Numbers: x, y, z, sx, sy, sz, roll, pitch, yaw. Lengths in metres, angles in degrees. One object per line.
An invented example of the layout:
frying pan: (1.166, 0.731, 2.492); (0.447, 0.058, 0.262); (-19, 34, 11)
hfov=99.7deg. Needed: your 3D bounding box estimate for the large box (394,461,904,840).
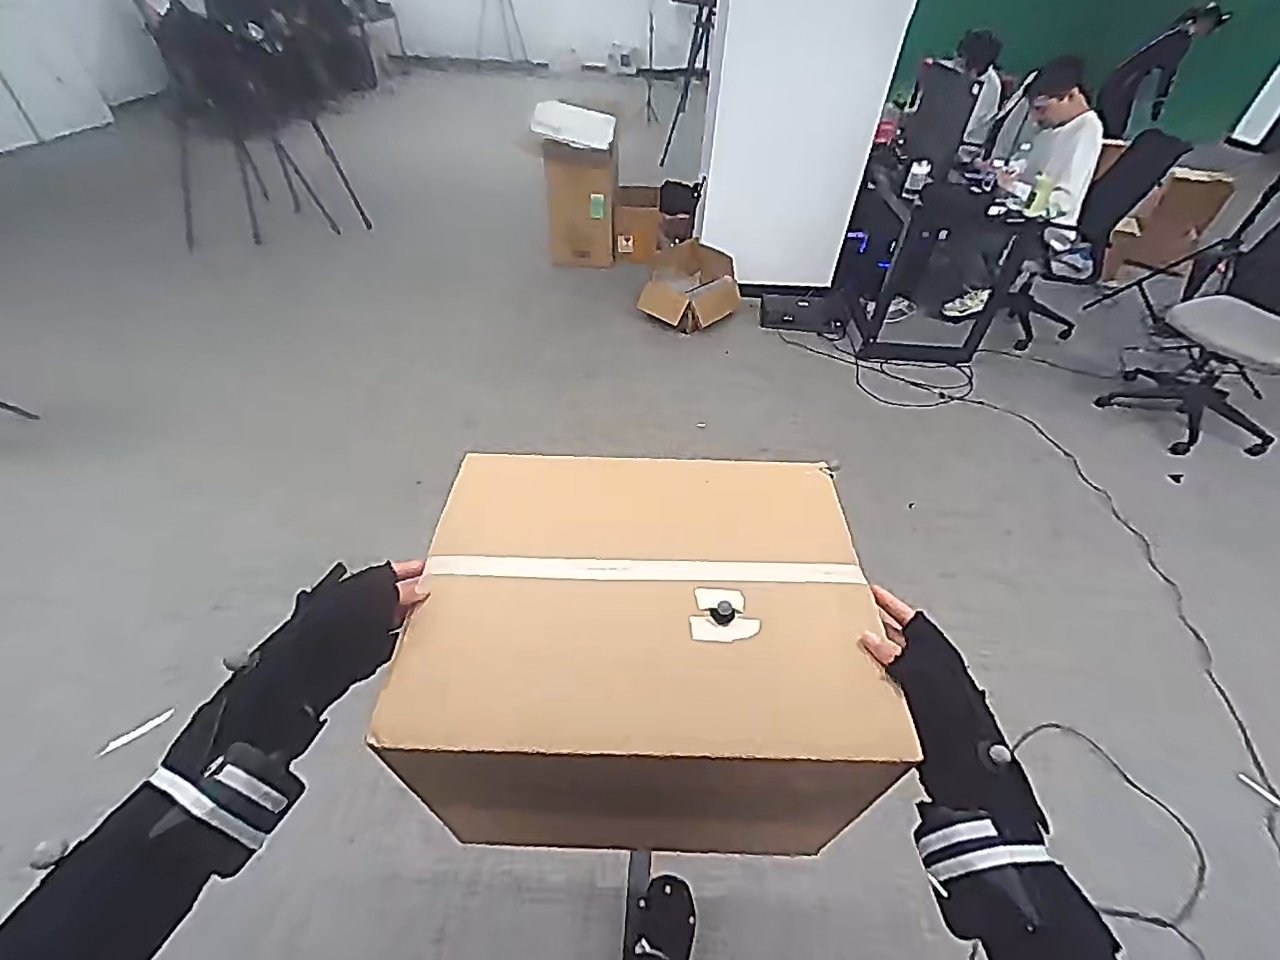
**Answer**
large box: (0.004, 0.196, 0.622); (0.408, 0.320, 0.320); (2, 45, 0)
